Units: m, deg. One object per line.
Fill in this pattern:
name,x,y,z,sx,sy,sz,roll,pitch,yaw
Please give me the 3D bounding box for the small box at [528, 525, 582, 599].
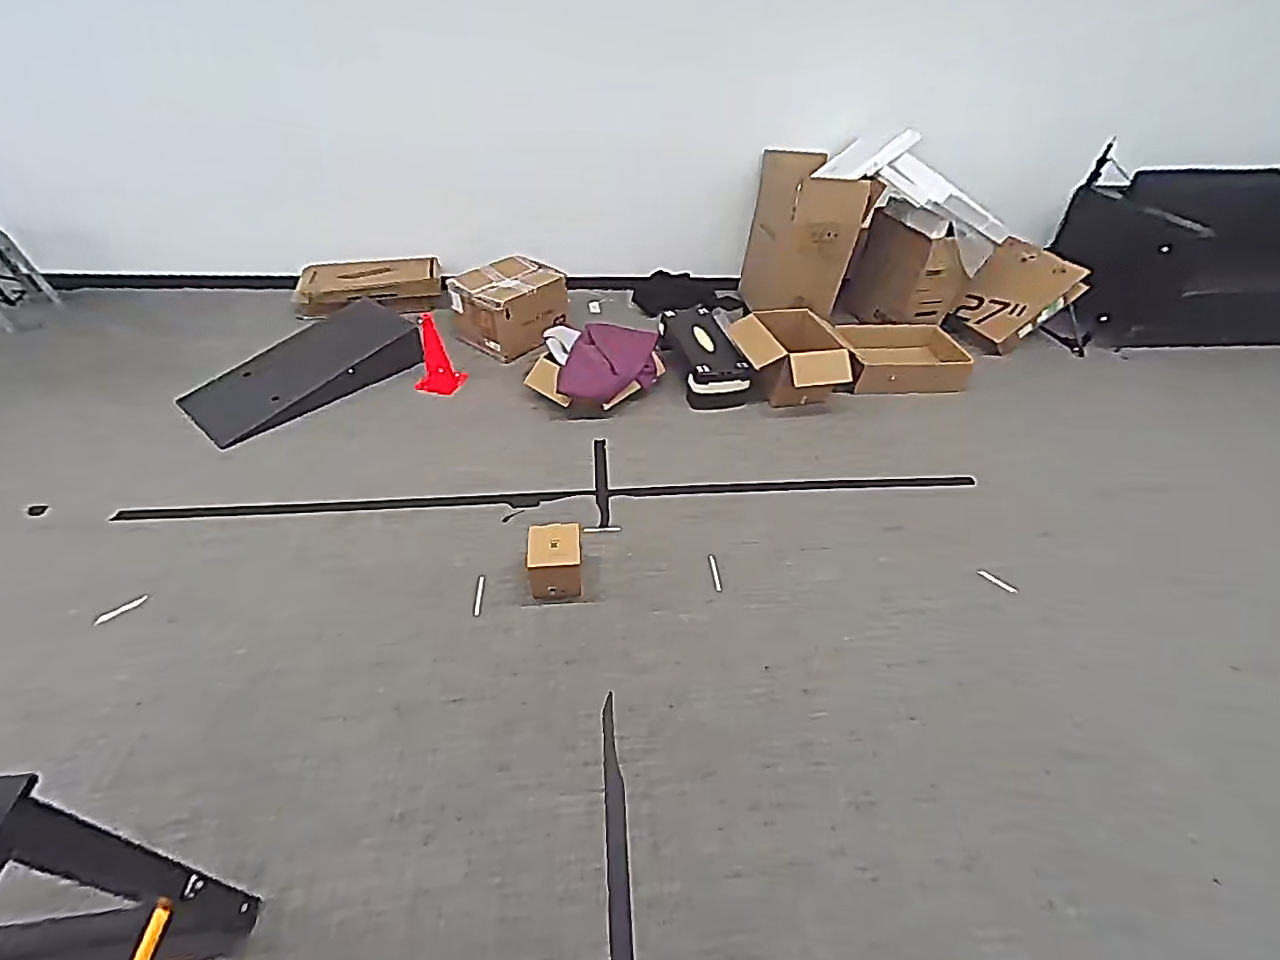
small box,-0.279,0.272,1.792,0.168,0.176,0.179,-4,44,-6
